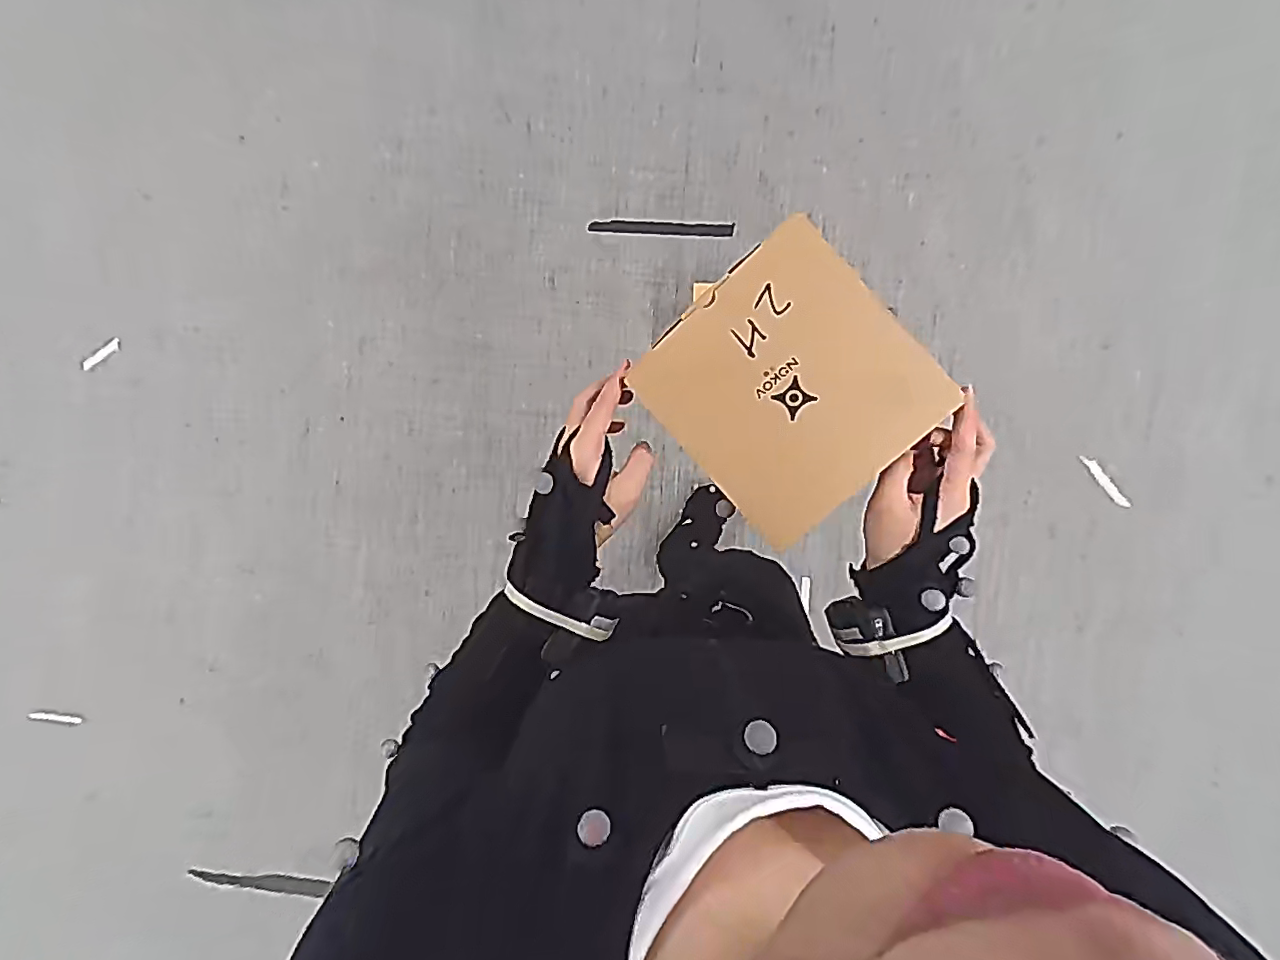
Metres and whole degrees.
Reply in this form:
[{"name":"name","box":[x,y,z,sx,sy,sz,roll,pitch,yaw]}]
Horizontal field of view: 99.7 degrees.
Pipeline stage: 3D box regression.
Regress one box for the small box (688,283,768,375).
[{"name":"small box","box":[0.201,-0.351,1.278,0.168,0.176,0.179,2,94,3]}]
